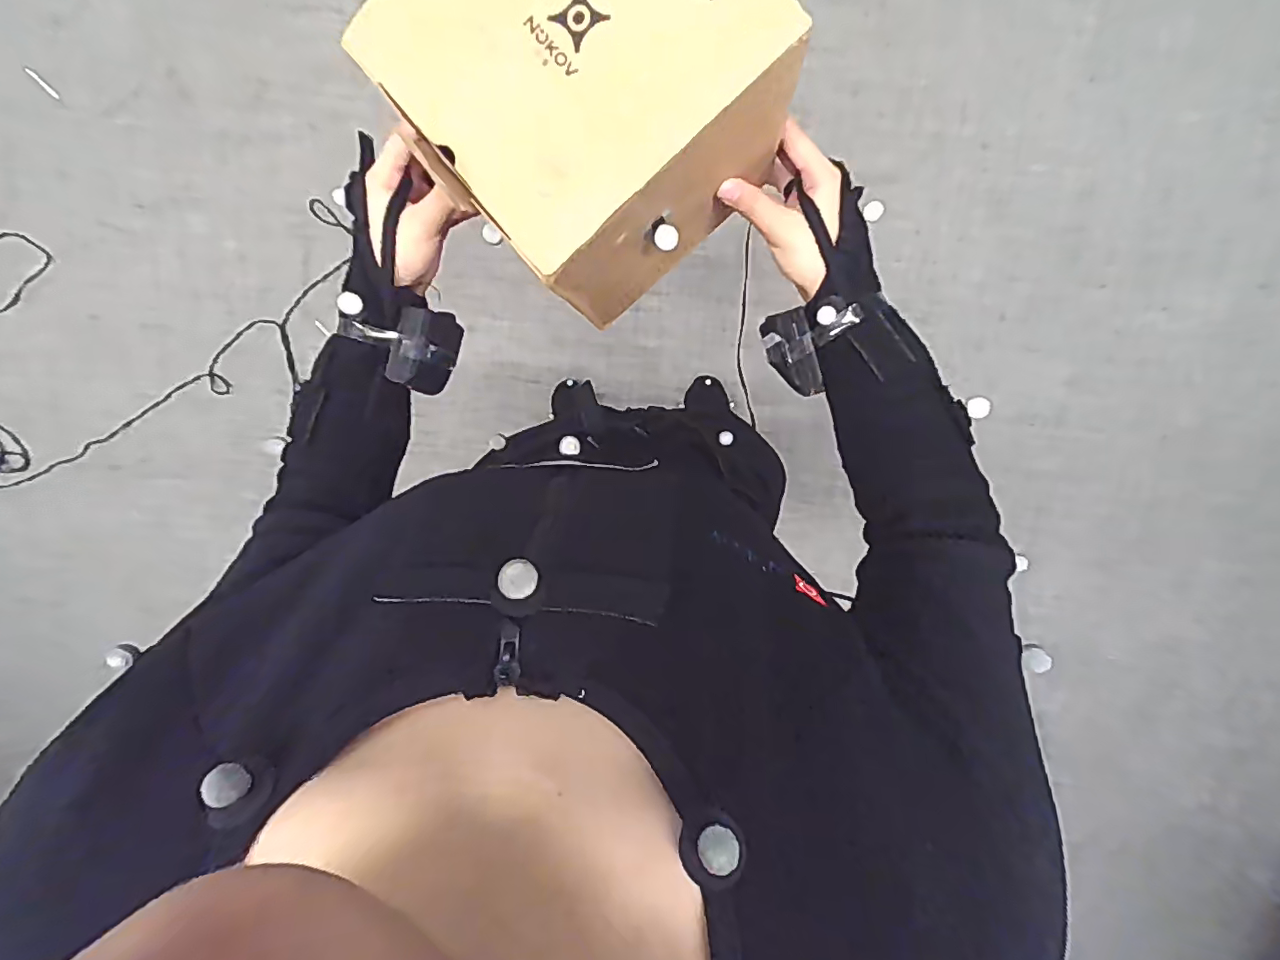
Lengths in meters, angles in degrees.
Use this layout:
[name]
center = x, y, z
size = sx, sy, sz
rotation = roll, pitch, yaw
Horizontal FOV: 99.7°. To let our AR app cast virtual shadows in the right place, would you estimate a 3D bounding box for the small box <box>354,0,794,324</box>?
[small box]
center = -0.028, -0.227, 0.352
size = 0.179, 0.176, 0.168
rotation = -40, 91, 10
